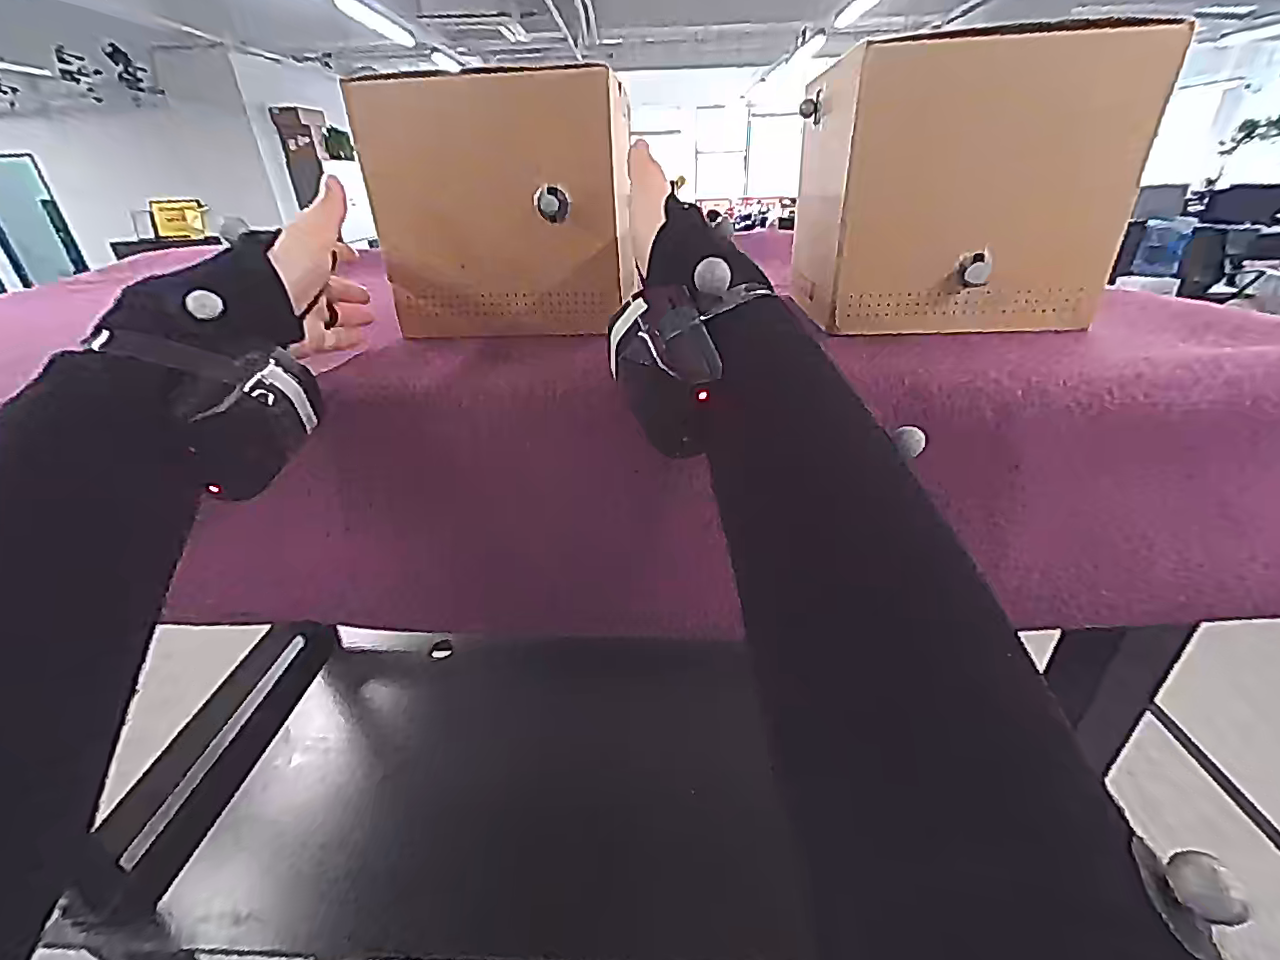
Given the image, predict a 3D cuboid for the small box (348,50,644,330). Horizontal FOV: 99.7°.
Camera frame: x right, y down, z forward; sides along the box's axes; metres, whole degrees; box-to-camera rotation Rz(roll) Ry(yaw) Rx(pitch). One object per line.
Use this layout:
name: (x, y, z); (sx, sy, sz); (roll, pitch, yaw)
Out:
small box: (-0.090, -0.225, 0.441); (0.179, 0.176, 0.168); (0, 28, 5)

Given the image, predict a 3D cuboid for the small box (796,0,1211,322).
small box: (0.224, -0.218, 0.397); (0.179, 0.176, 0.168); (0, 28, 5)
